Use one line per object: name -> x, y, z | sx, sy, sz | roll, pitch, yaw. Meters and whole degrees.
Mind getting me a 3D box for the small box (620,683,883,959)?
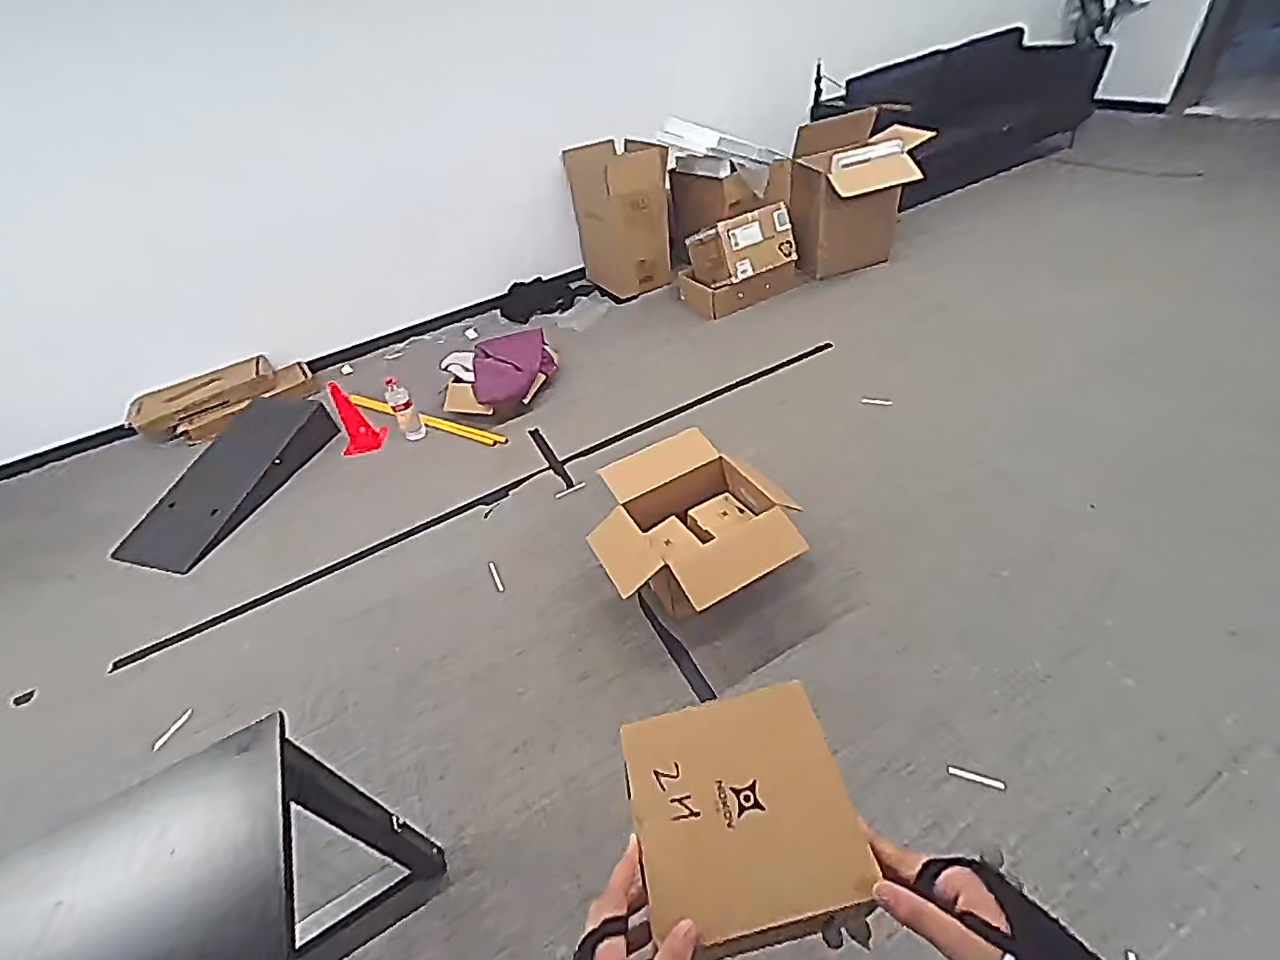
small box -> 0.092, 0.318, 0.501 | 0.179, 0.176, 0.168 | -15, 45, 0
